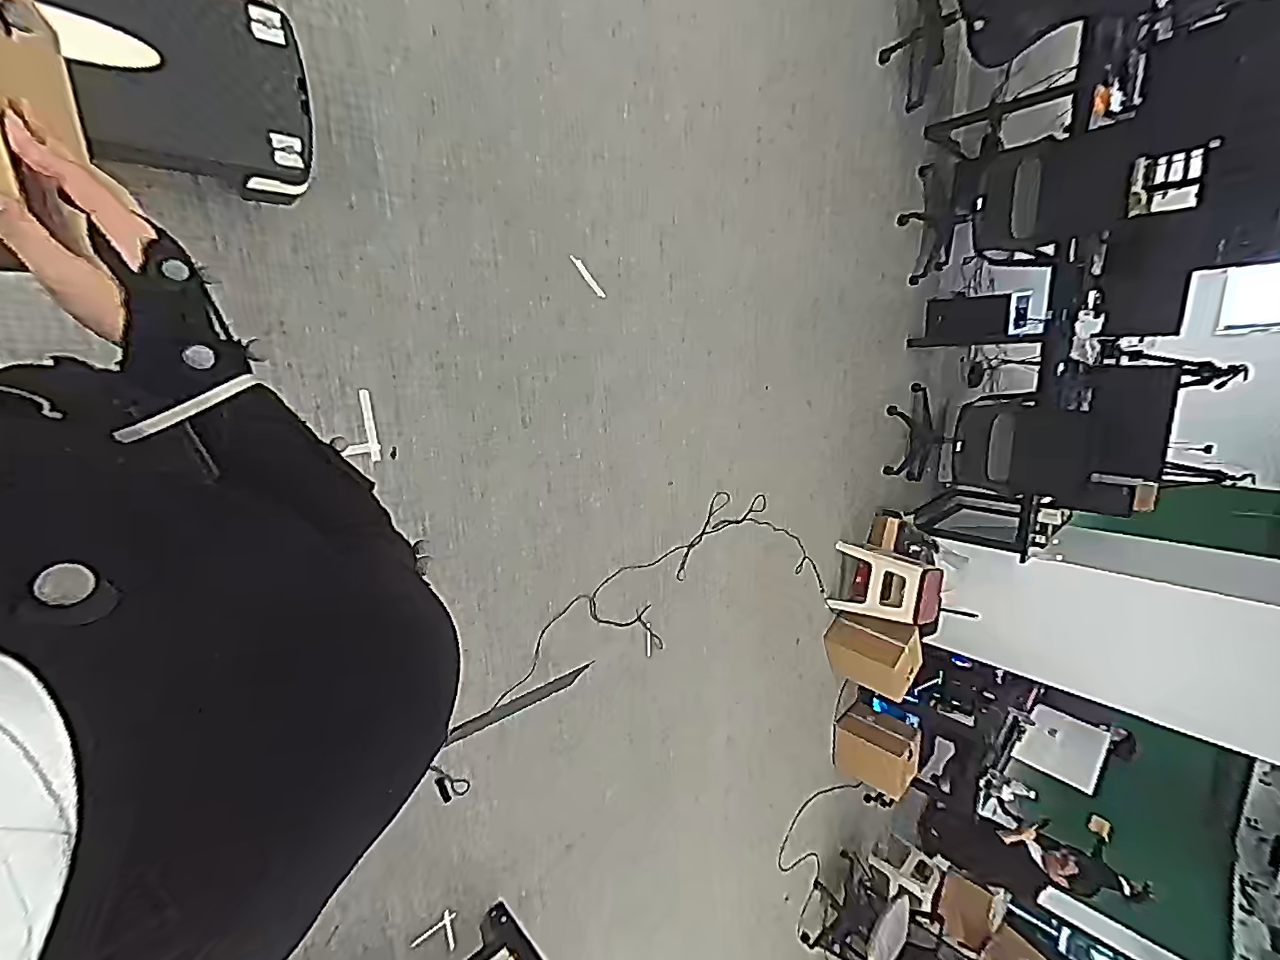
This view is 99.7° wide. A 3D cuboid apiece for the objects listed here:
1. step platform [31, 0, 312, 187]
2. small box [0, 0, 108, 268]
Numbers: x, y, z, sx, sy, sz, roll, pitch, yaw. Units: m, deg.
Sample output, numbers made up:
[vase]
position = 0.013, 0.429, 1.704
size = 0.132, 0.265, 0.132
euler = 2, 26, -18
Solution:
[step platform]
position = -0.899, -0.680, 0.824
size = 0.684, 0.204, 0.286
euler = -13, 106, -41
[small box]
position = -0.459, -0.232, 0.314
size = 0.168, 0.176, 0.179
euler = -10, 106, -30
